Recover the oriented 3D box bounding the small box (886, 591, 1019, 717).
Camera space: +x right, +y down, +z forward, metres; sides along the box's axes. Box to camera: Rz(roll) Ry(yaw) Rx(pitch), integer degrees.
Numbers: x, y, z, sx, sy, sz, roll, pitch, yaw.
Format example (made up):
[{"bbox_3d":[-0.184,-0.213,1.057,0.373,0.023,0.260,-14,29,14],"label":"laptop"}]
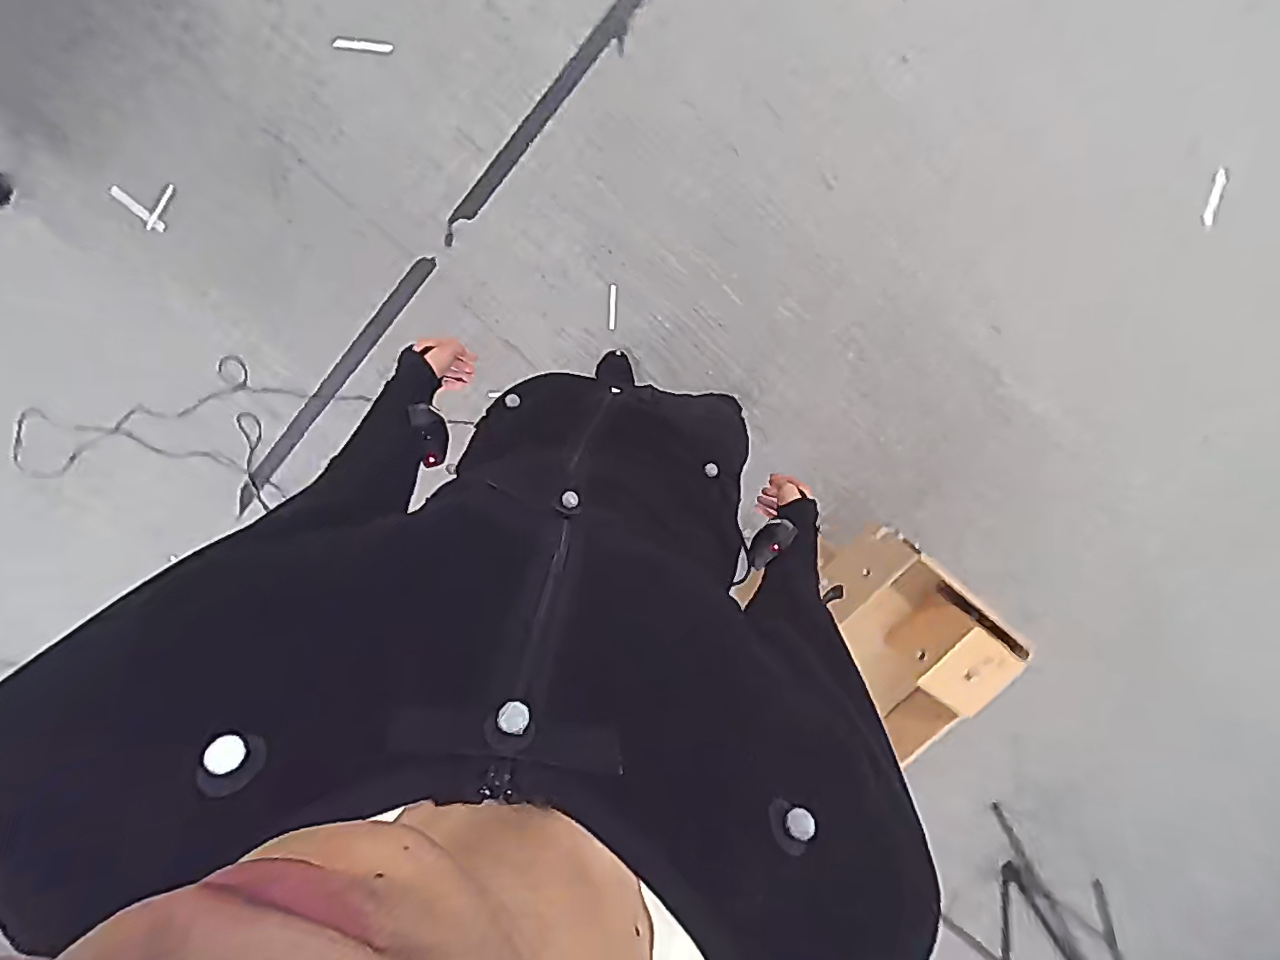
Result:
[{"bbox_3d":[0.698,0.392,1.240,0.168,0.176,0.179,37,103,-11],"label":"small box"}]
